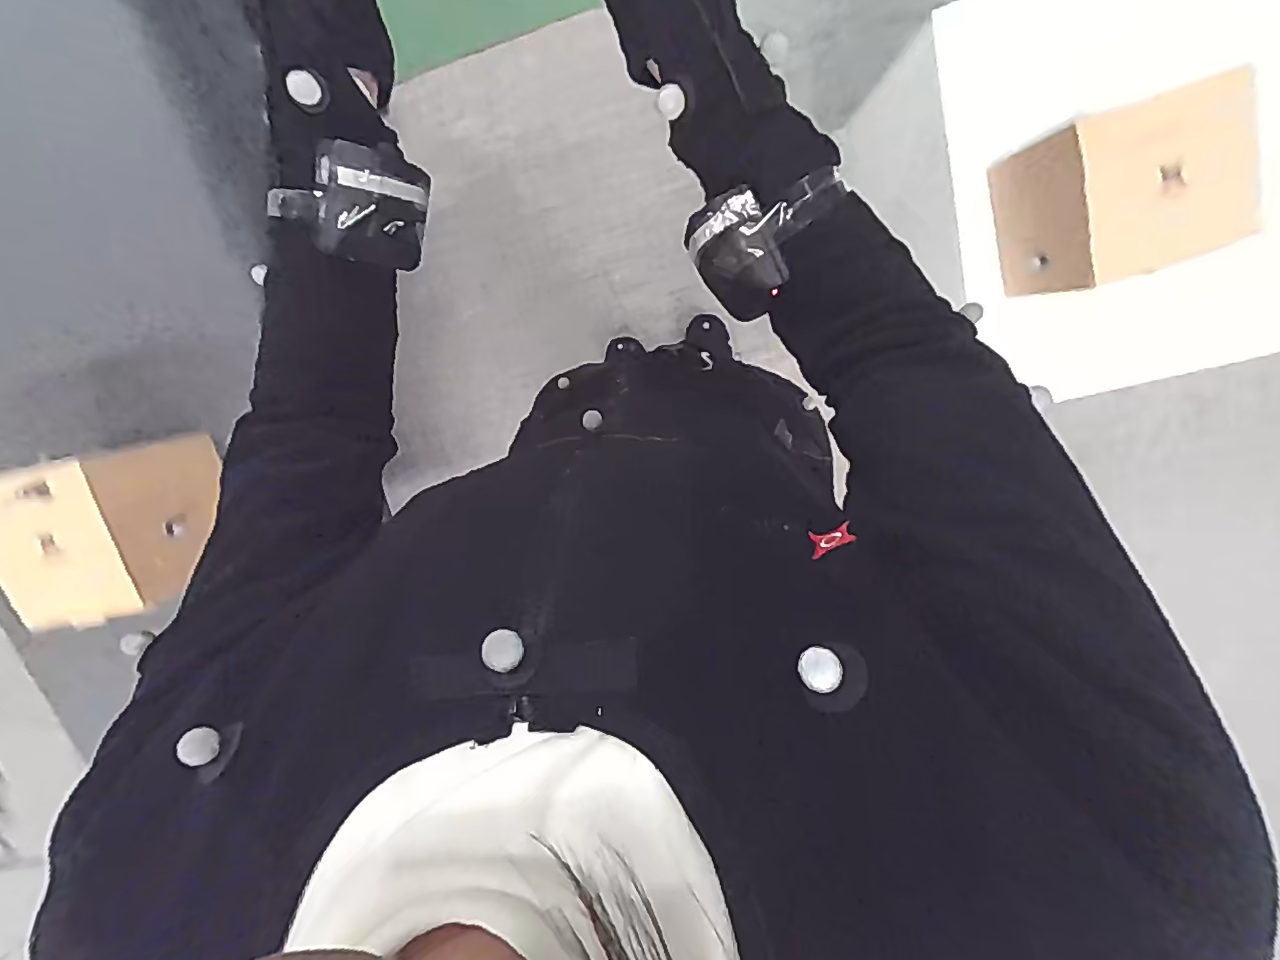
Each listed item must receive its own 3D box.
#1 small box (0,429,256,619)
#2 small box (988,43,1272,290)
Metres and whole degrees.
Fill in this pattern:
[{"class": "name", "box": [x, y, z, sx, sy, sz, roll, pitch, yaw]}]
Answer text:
[{"class": "small box", "box": [-0.639, 0.048, 0.682, 0.168, 0.176, 0.179, -10, 105, 8]}, {"class": "small box", "box": [0.528, -0.322, 0.605, 0.168, 0.176, 0.179, -17, 103, 9]}]
